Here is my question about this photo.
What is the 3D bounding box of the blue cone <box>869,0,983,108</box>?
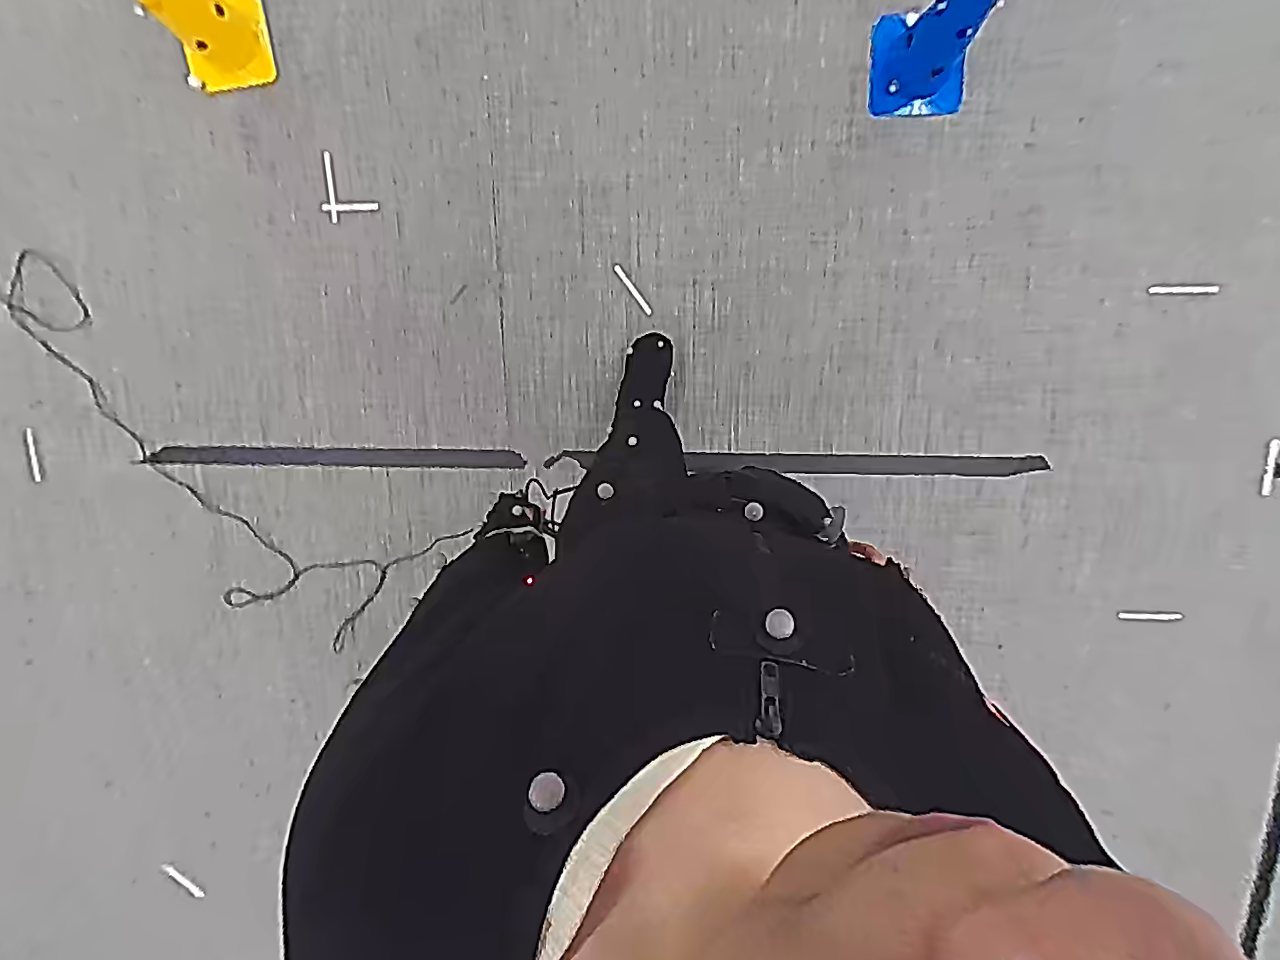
[{"bbox_3d":[0.587,-0.887,1.012,0.193,0.380,0.192,1,99,2],"label":"blue cone"}]
